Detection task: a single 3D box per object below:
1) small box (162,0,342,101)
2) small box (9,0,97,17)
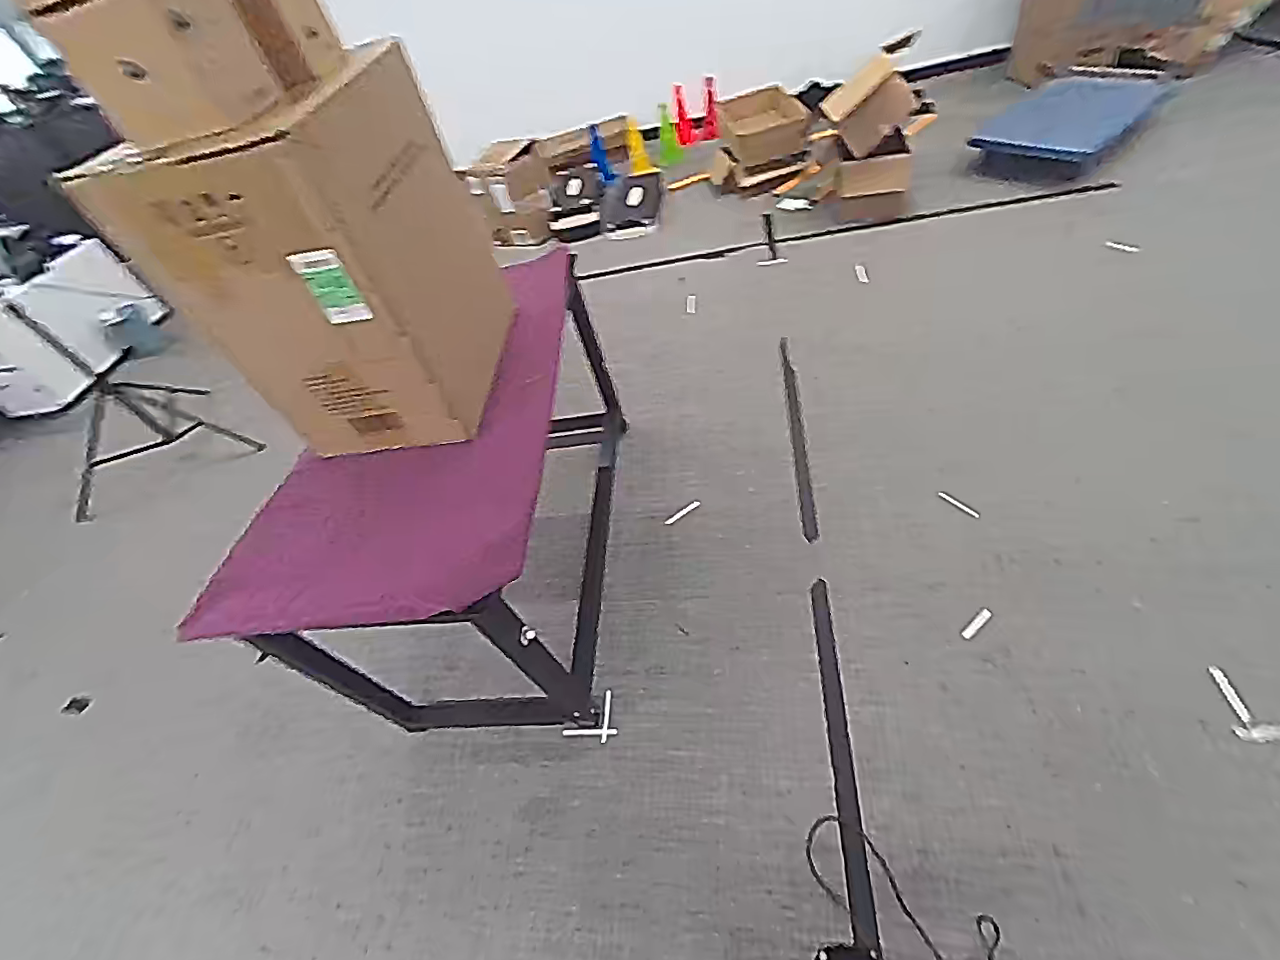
[{"bbox_3d":[-0.676,-0.799,0.953,0.179,0.176,0.168,-8,50,8],"label":"small box"},{"bbox_3d":[-0.719,-0.709,0.664,0.179,0.176,0.168,-10,47,8],"label":"small box"}]
